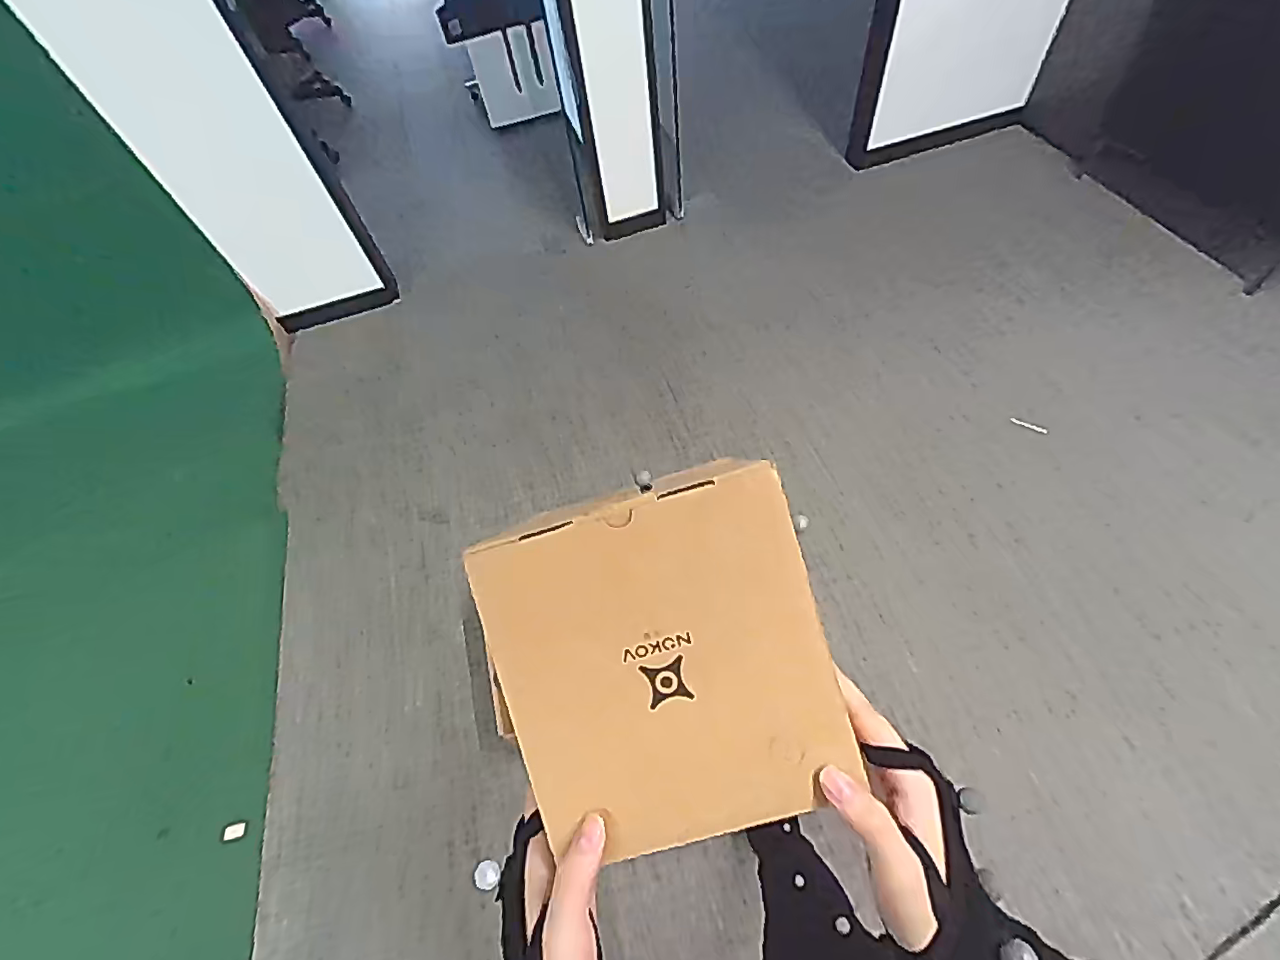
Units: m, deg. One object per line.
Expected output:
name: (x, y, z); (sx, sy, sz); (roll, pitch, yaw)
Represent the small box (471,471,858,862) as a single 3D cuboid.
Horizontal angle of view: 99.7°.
small box: (0.016, 0.096, 0.360); (0.168, 0.176, 0.179); (-17, 89, 3)
